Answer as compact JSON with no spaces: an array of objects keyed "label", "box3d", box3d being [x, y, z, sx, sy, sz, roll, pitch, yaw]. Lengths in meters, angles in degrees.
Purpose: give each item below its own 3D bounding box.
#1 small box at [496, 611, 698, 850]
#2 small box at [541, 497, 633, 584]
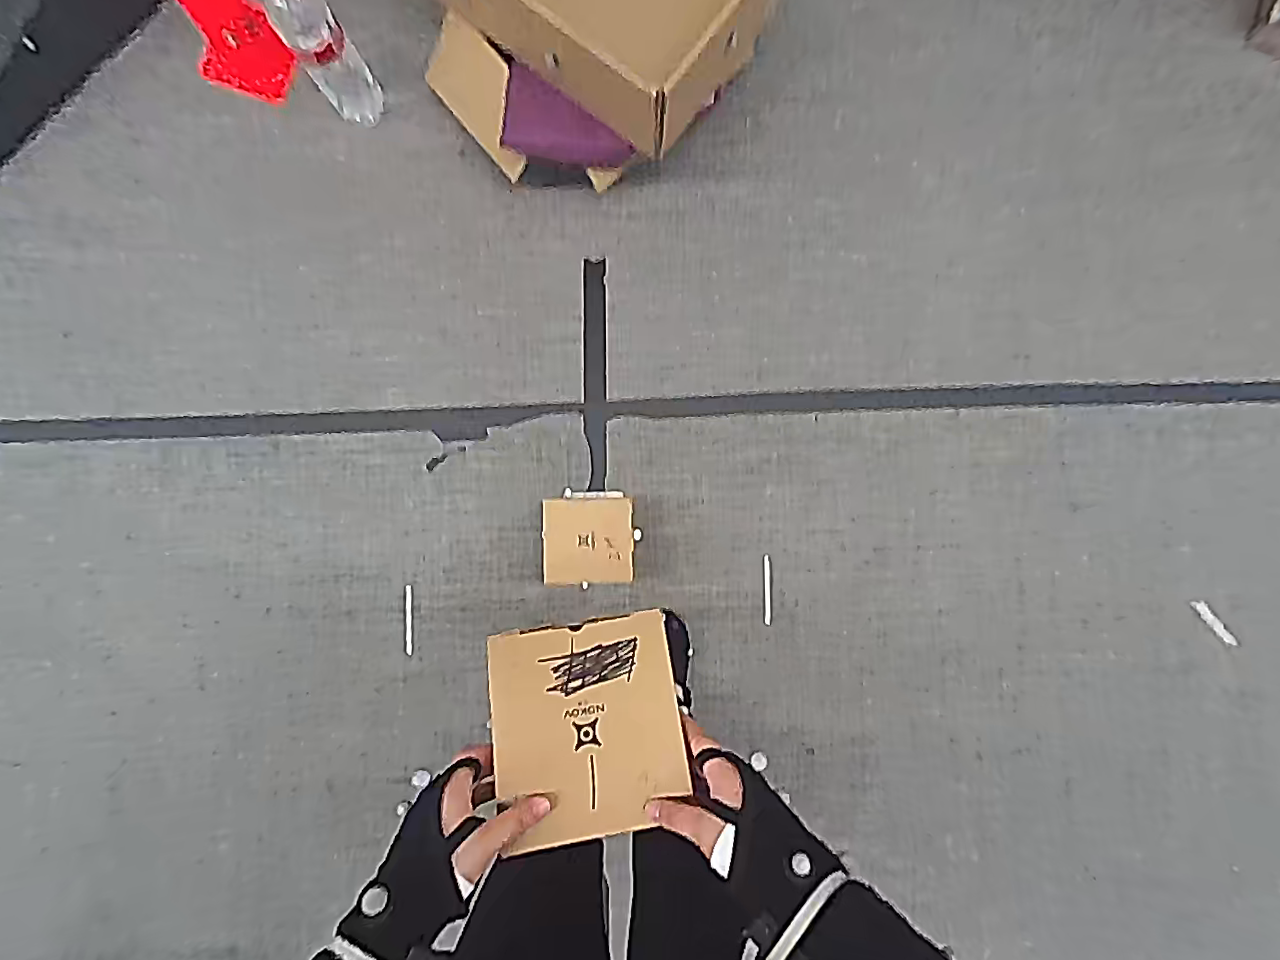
[{"label":"small box","box3d":[-0.046,0.246,0.553,0.168,0.176,0.179,-8,68,-5]},{"label":"small box","box3d":[-0.104,0.121,1.125,0.179,0.176,0.168,0,90,-1]}]
